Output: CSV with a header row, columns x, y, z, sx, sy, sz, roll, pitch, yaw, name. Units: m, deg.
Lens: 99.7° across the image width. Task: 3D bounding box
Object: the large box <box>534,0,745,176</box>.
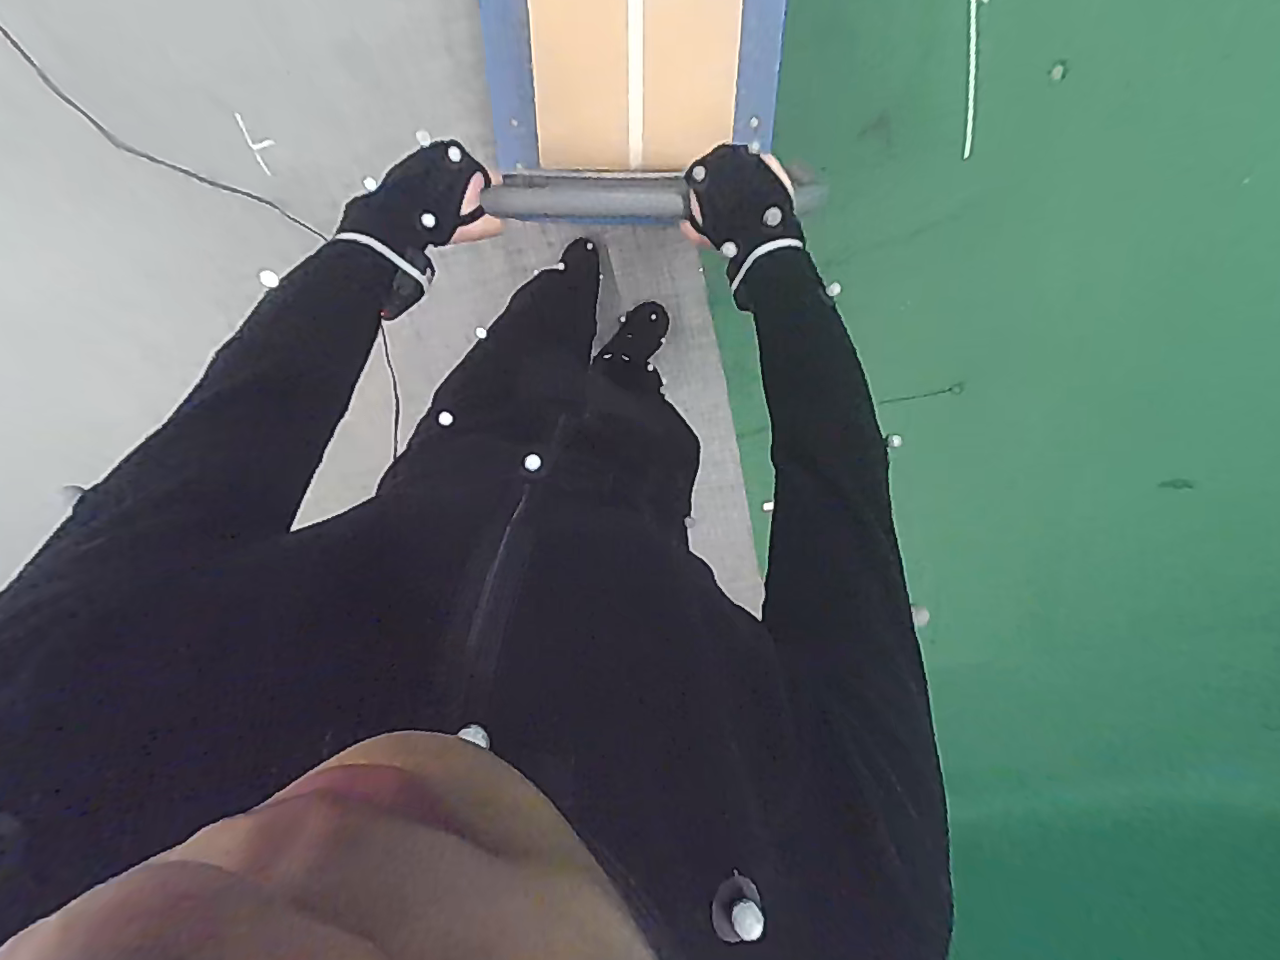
x,y,z,sx,sy,sz,roll,pitch,yaw,name
0.006,-0.754,0.920,0.320,0.320,0.408,1,118,2,large box
